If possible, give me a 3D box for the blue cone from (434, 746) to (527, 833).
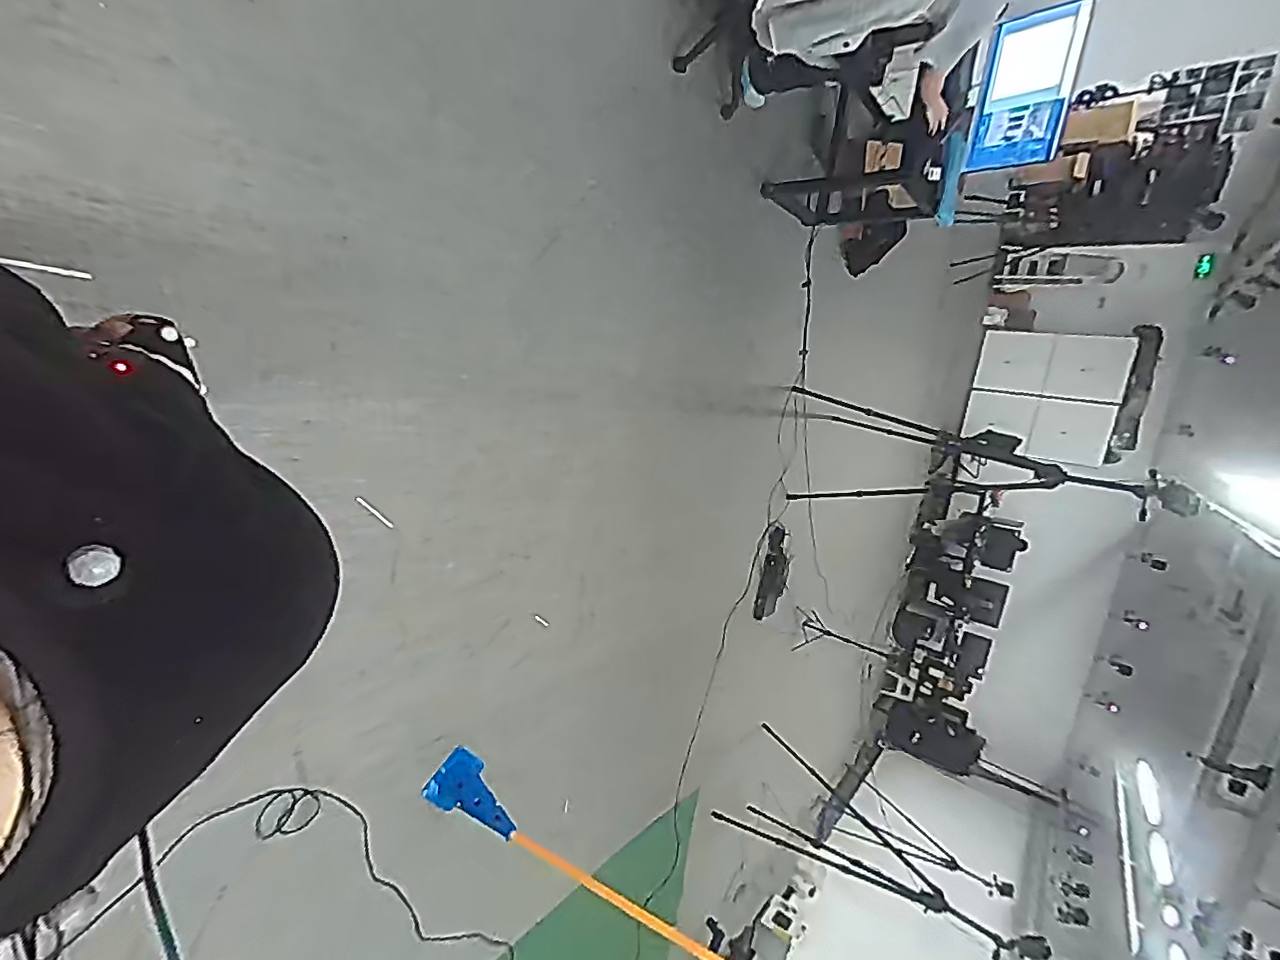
[{"bbox_3d":[-0.546,1.145,1.946,0.193,0.380,0.192,-53,137,-28],"label":"blue cone"}]
